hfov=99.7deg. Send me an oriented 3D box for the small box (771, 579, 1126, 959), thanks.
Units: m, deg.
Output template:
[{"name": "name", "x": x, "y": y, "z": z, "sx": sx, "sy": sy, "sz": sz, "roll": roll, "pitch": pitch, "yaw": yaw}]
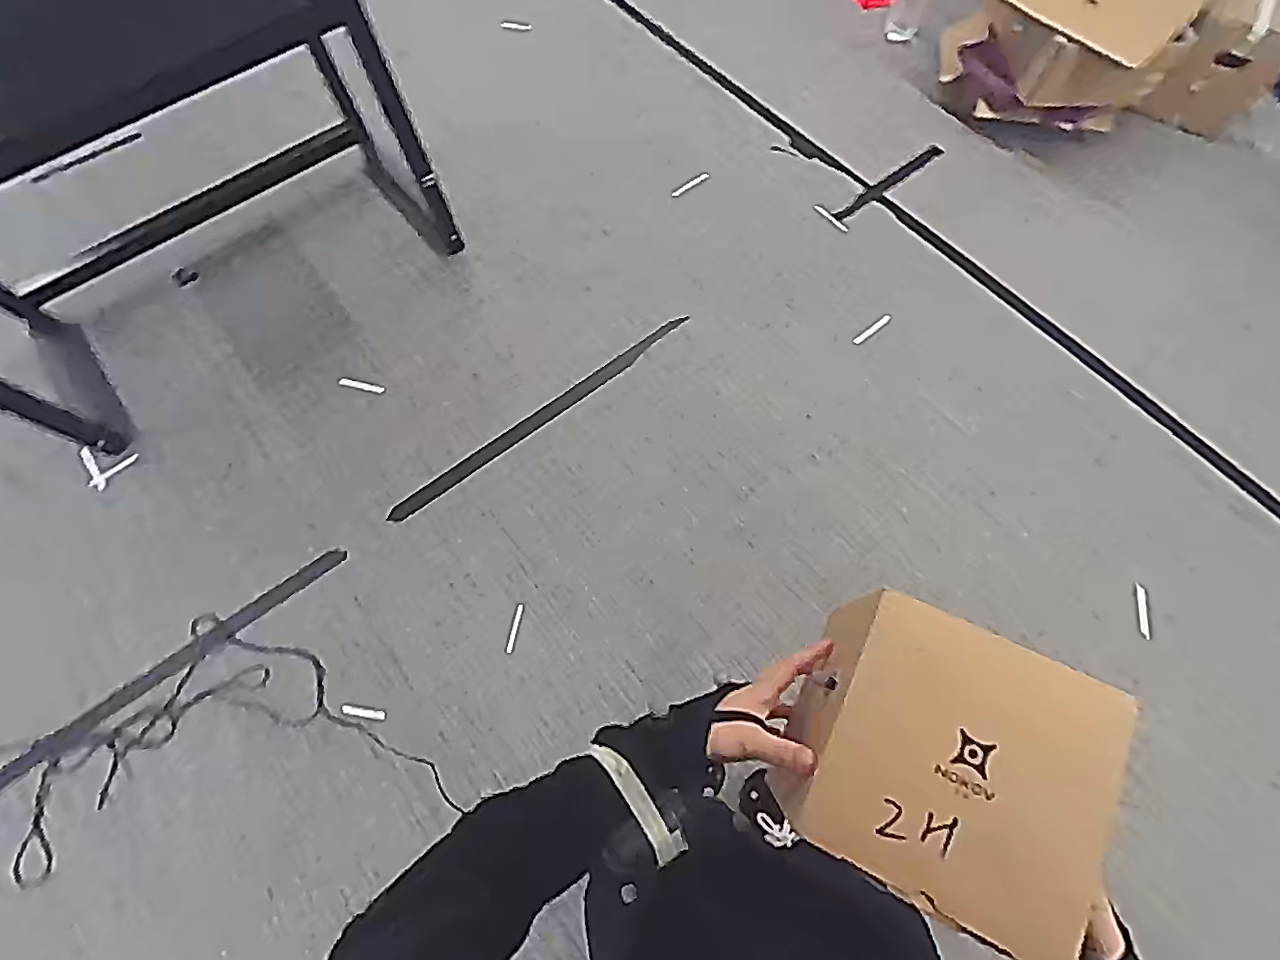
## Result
[{"name": "small box", "x": 0.213, "y": 0.200, "z": 0.421, "sx": 0.168, "sy": 0.176, "sz": 0.179, "roll": 23, "pitch": 75, "yaw": 14}]
